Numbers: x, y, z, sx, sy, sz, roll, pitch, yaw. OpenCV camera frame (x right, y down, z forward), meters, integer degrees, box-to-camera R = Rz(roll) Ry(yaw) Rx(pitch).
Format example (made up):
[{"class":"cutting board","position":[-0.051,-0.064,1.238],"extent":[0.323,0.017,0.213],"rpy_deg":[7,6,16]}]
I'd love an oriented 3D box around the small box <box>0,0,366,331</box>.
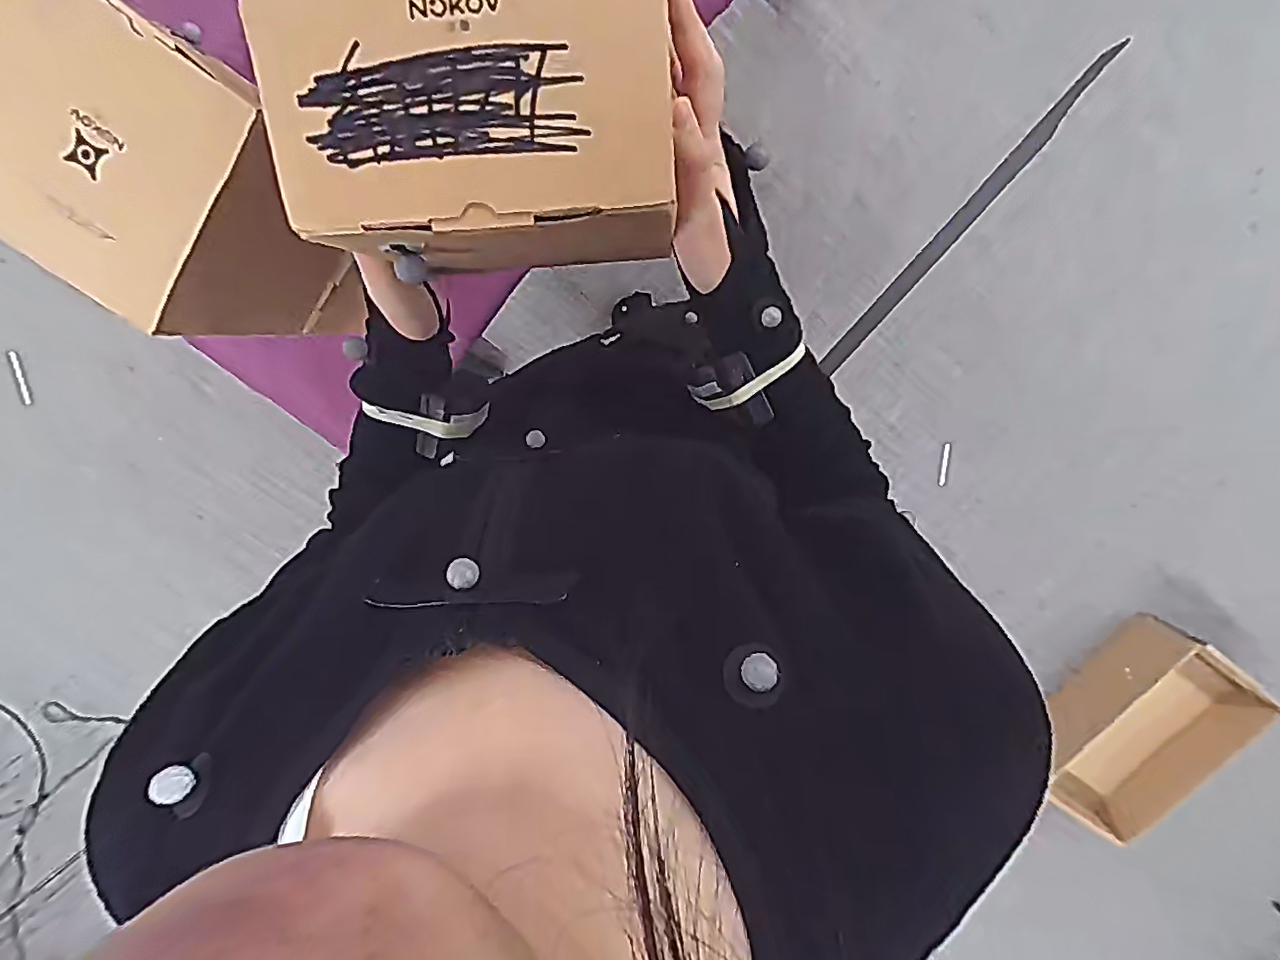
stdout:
[{"class":"small box","position":[-0.355,-0.239,0.430],"extent":[0.168,0.176,0.179],"rpy_deg":[34,103,-7]}]

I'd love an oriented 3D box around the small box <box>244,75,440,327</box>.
[{"class":"small box","position":[-0.355,-0.281,0.587],"extent":[0.179,0.176,0.168],"rpy_deg":[36,102,-10]}]
